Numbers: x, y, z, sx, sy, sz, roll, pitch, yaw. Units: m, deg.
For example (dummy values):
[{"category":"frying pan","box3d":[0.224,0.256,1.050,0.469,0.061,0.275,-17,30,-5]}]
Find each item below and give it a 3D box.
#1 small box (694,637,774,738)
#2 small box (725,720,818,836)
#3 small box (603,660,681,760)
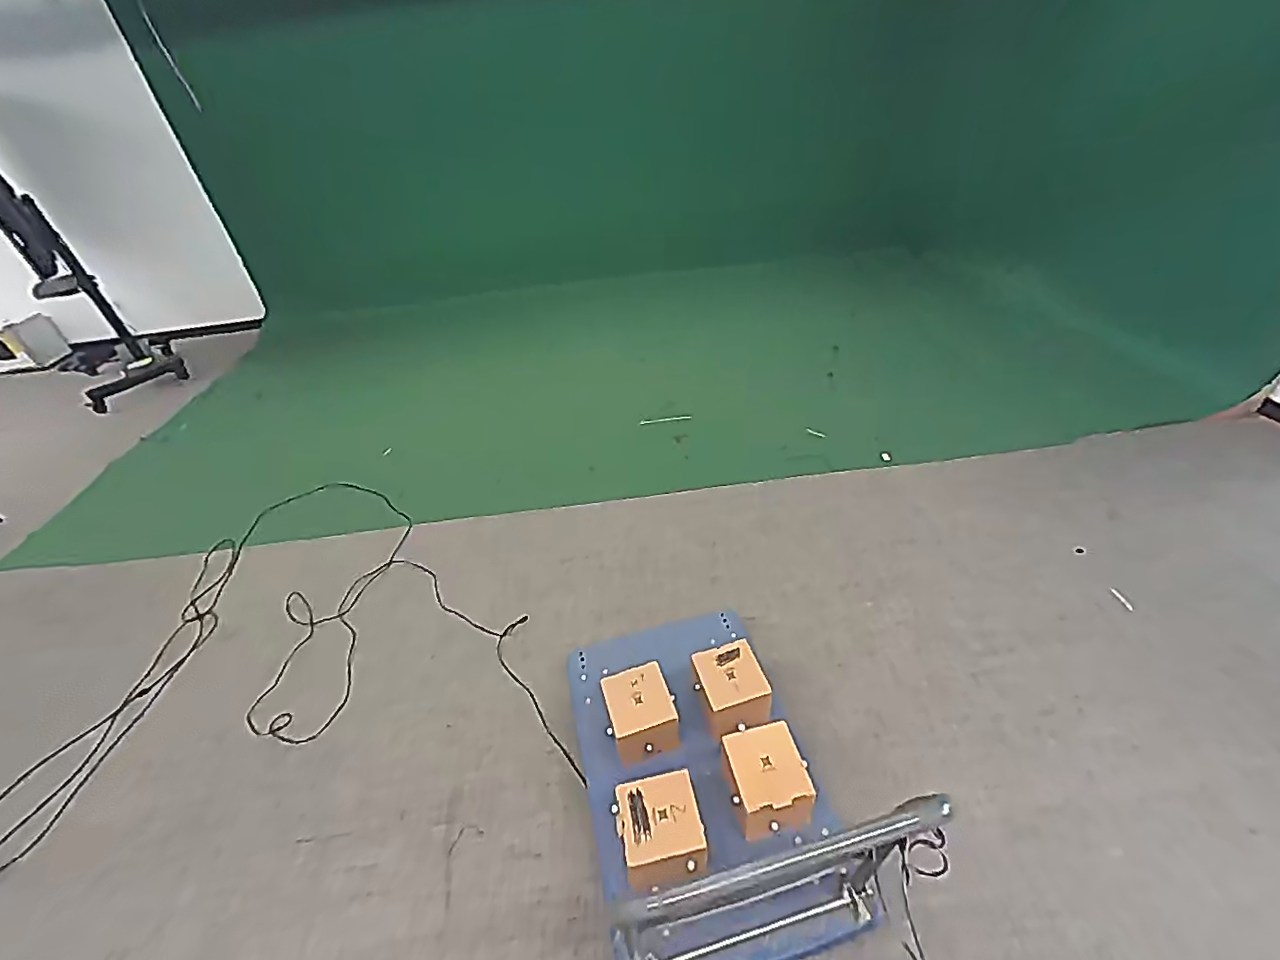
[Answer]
[{"category":"small box","box3d":[0.255,0.573,1.495,0.168,0.176,0.179,-15,40,-8]},{"category":"small box","box3d":[0.307,0.720,1.309,0.168,0.176,0.179,-12,39,-6]},{"category":"small box","box3d":[0.007,0.630,1.465,0.168,0.176,0.179,-14,39,-10]}]
